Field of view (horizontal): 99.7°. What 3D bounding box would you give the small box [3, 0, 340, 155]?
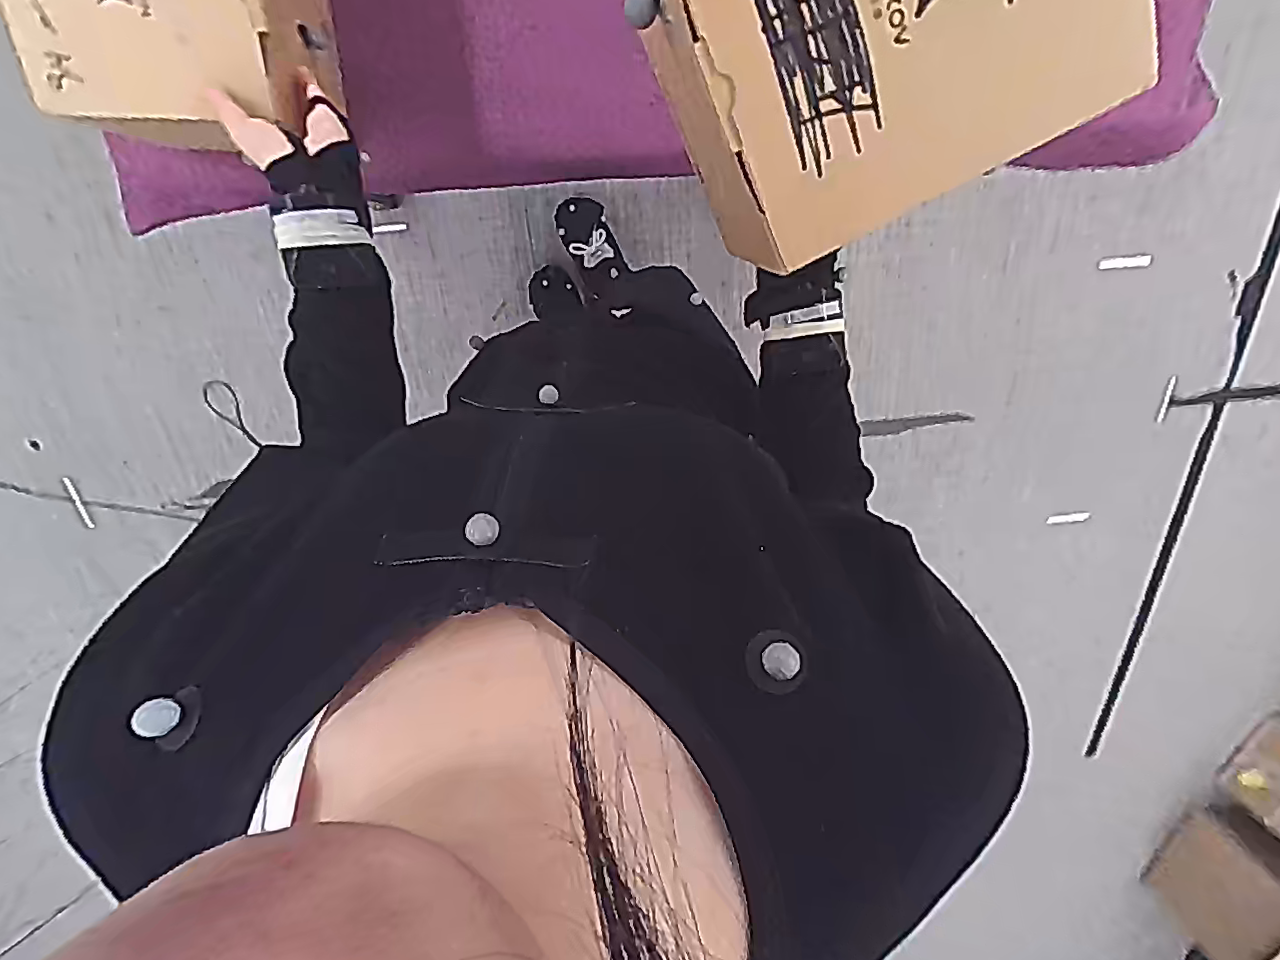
[{"bbox_3d":[-0.384,-0.390,0.468,0.179,0.176,0.168,-3,113,-8],"label":"small box"}]
